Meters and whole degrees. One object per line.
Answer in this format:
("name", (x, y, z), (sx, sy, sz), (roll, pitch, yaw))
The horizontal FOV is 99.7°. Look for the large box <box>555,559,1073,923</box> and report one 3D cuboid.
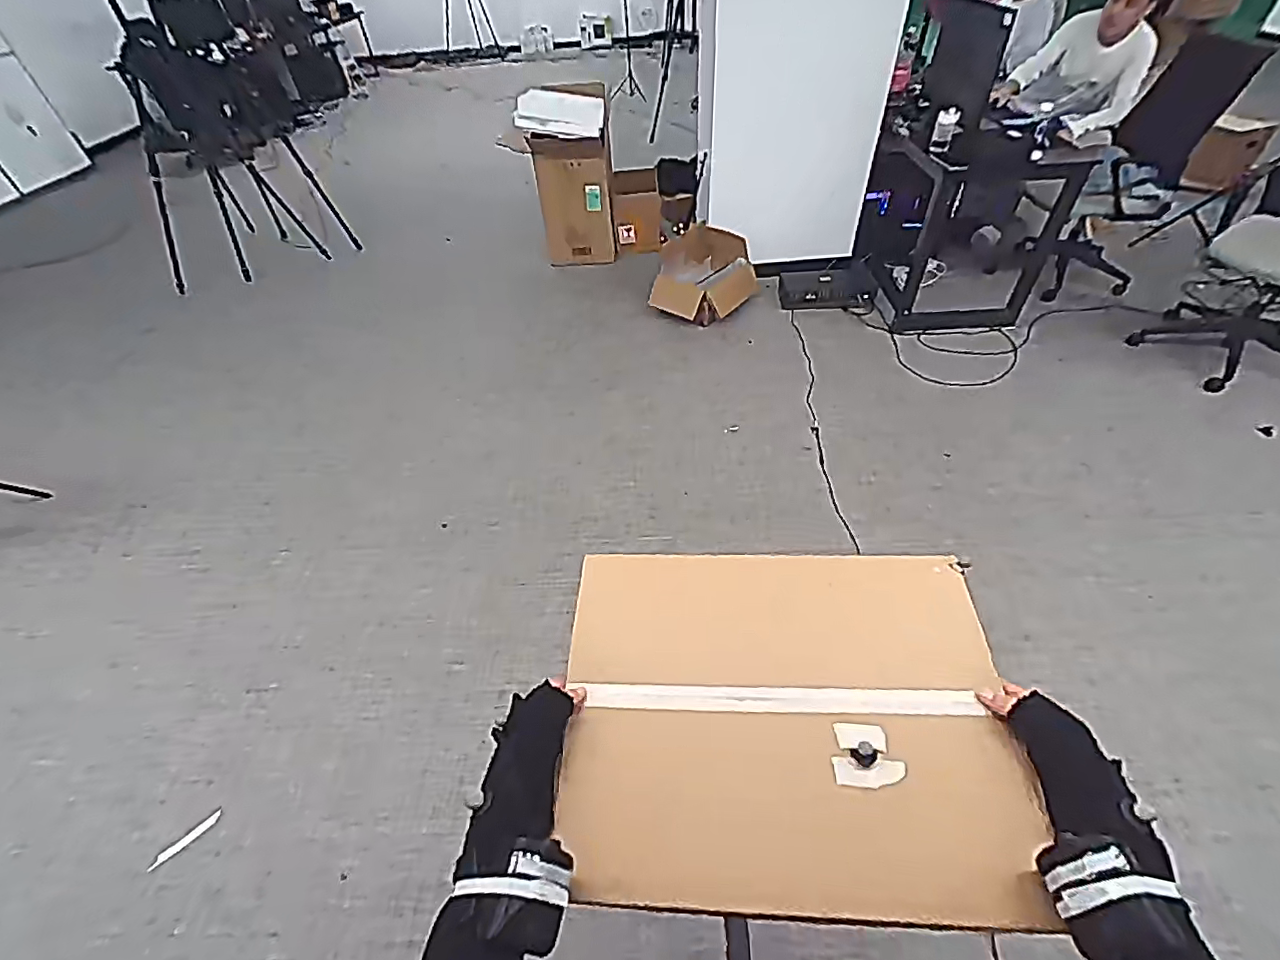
("large box", (0.142, 0.303, 0.624), (0.408, 0.320, 0.320), (0, 51, 5))
